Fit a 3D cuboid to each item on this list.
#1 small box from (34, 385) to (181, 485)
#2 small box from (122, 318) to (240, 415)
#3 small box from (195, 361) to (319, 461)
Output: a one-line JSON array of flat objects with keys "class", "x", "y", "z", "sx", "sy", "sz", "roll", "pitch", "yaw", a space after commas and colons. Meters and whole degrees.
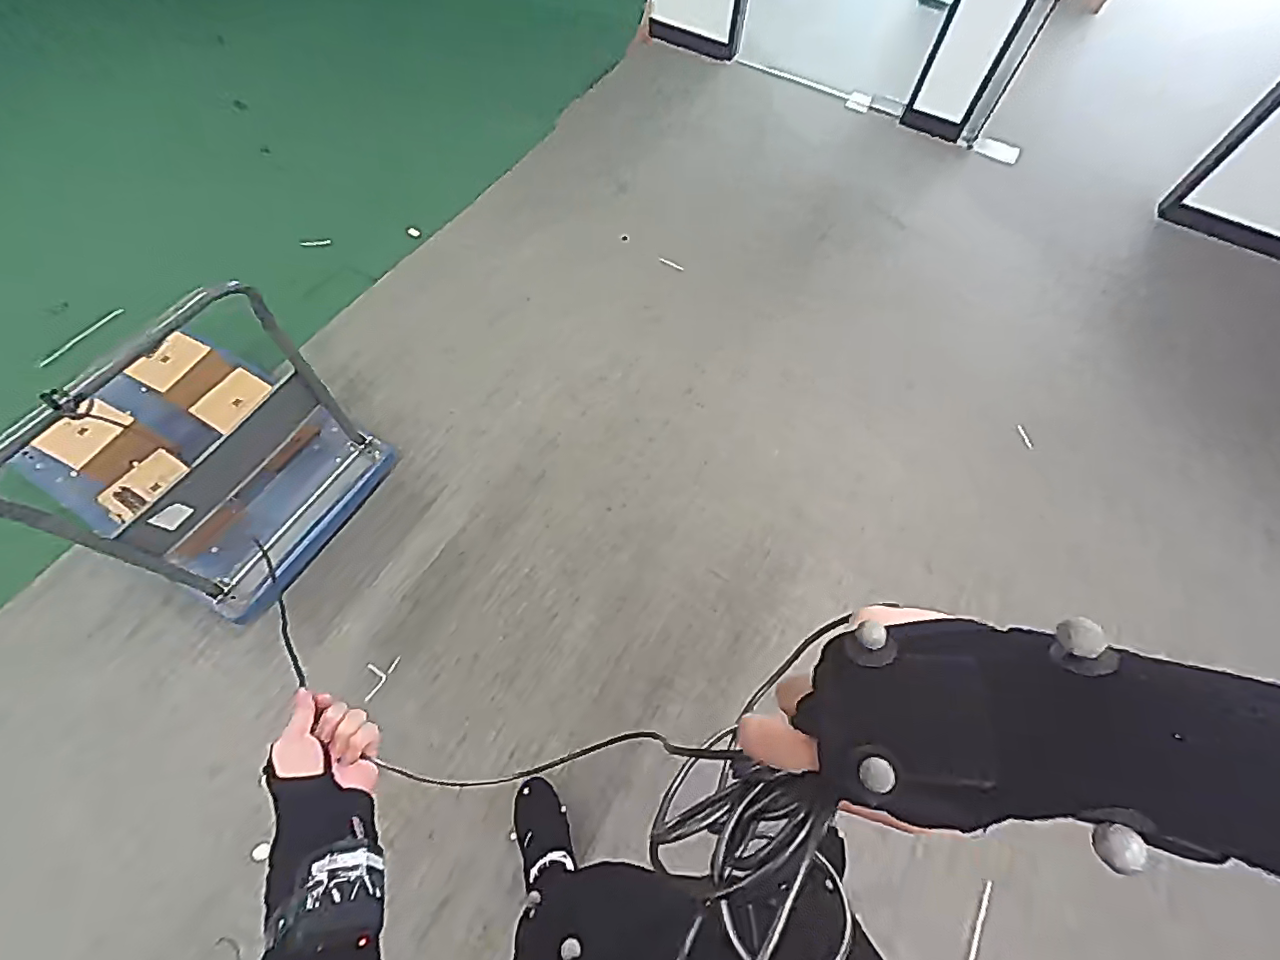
[{"class": "small box", "x": -1.365, "y": -0.108, "z": 1.403, "sx": 0.179, "sy": 0.176, "sz": 0.168, "roll": 26, "pitch": 65, "yaw": 9}, {"class": "small box", "x": -1.252, "y": -0.309, "z": 1.506, "sx": 0.179, "sy": 0.176, "sz": 0.168, "roll": 26, "pitch": 66, "yaw": 8}, {"class": "small box", "x": -1.020, "y": -0.179, "z": 1.457, "sx": 0.179, "sy": 0.176, "sz": 0.168, "roll": 30, "pitch": 66, "yaw": 10}]
